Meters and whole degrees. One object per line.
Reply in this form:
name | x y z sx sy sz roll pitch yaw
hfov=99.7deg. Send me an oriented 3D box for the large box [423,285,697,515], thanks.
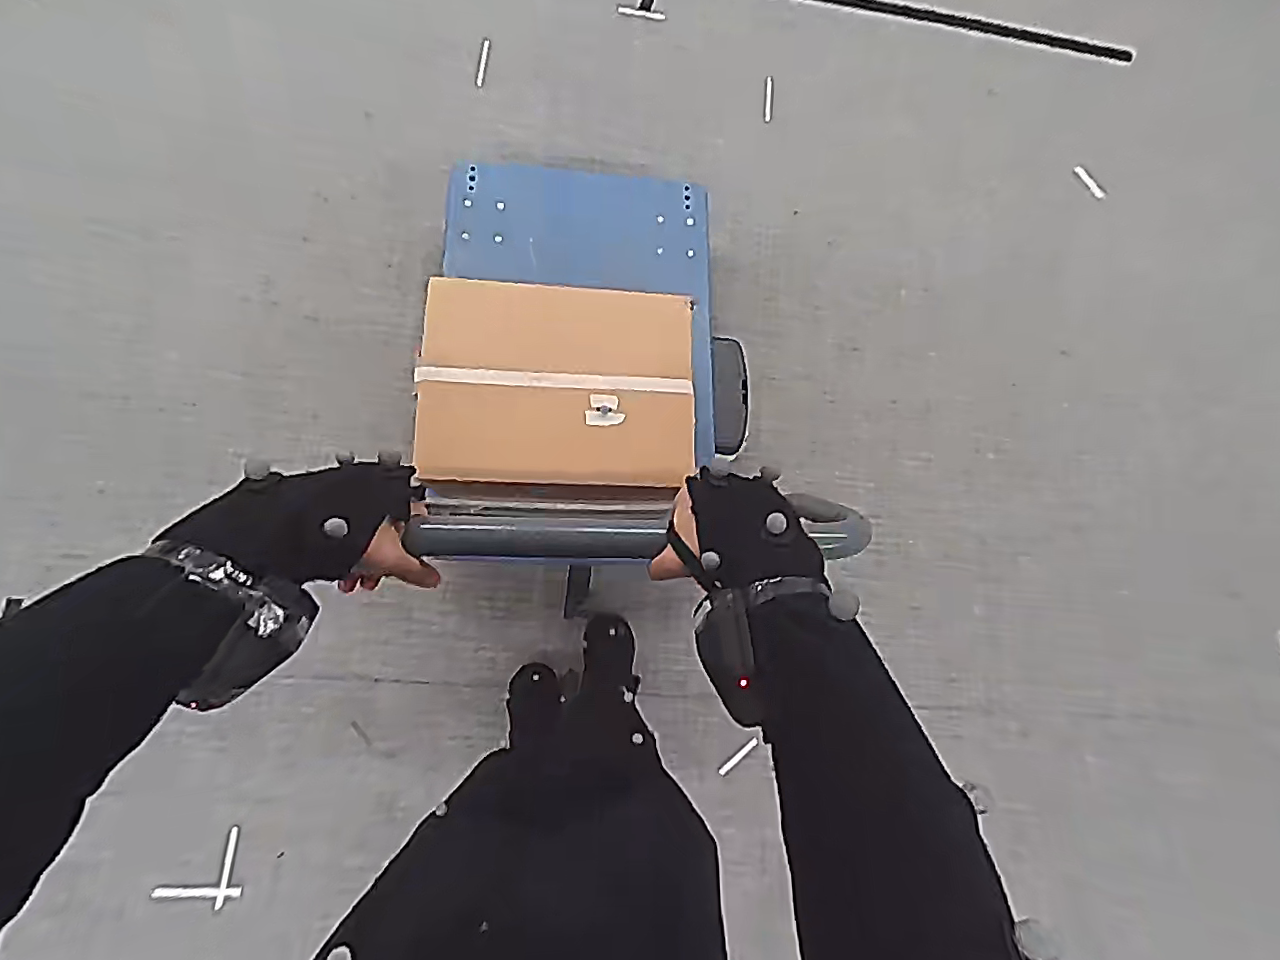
large box | -0.133 -0.112 0.957 0.408 0.320 0.320 2 79 -8
